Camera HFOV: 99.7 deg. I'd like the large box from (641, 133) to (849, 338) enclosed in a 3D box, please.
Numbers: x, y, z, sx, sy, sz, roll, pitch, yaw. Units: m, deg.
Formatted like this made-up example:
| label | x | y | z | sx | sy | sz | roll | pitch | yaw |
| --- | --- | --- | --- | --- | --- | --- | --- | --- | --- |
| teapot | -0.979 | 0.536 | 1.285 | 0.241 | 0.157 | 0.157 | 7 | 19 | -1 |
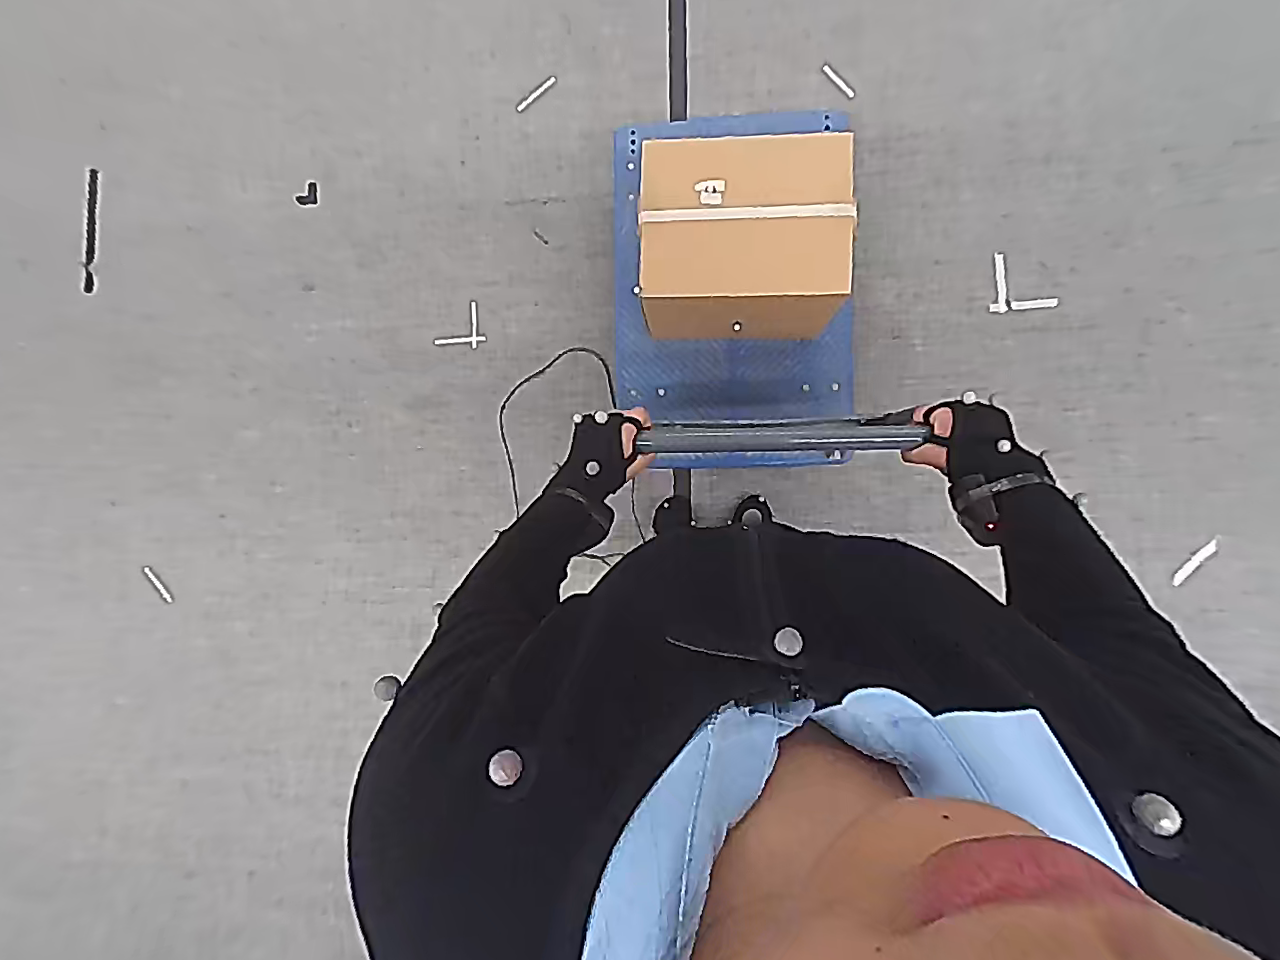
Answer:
| label | x | y | z | sx | sy | sz | roll | pitch | yaw |
| --- | --- | --- | --- | --- | --- | --- | --- | --- | --- |
| large box | 0.219 | -0.512 | 1.202 | 0.408 | 0.320 | 0.320 | 1 | 88 | 6 |
